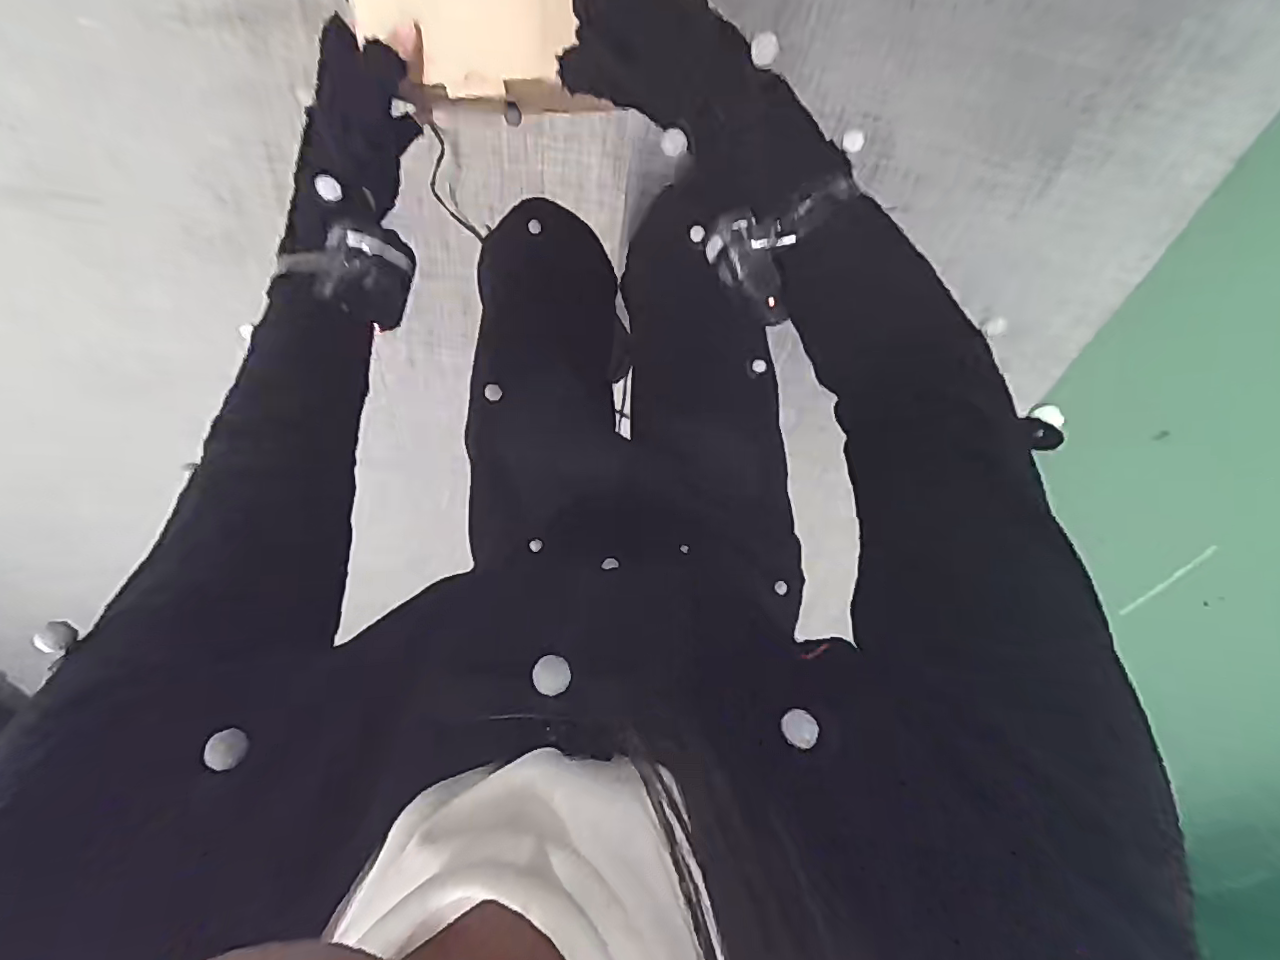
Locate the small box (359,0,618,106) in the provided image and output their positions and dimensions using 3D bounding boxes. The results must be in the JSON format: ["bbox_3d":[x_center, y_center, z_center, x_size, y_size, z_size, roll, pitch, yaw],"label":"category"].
[{"bbox_3d":[-0.111,-0.411,0.429,0.168,0.176,0.179,1,117,6],"label":"small box"}]
